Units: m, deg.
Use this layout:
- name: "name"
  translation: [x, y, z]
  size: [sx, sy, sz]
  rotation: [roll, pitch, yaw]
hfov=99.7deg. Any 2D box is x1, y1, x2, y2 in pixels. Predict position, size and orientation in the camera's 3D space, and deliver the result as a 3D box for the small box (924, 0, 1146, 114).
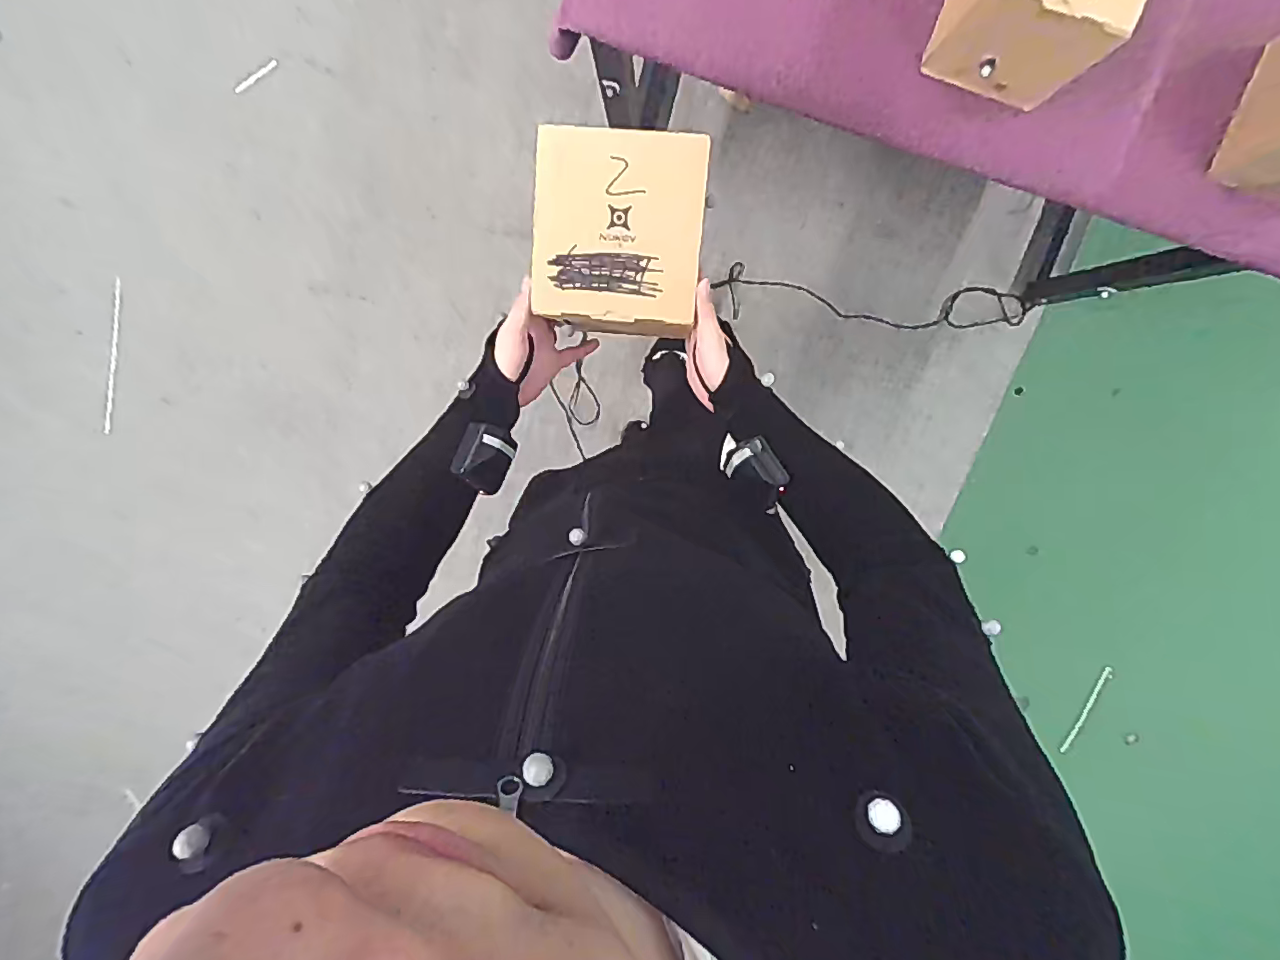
- name: "small box"
  translation: [0.482, -0.593, 0.652]
  size: [0.168, 0.176, 0.179]
  rotation: [18, 102, -3]
